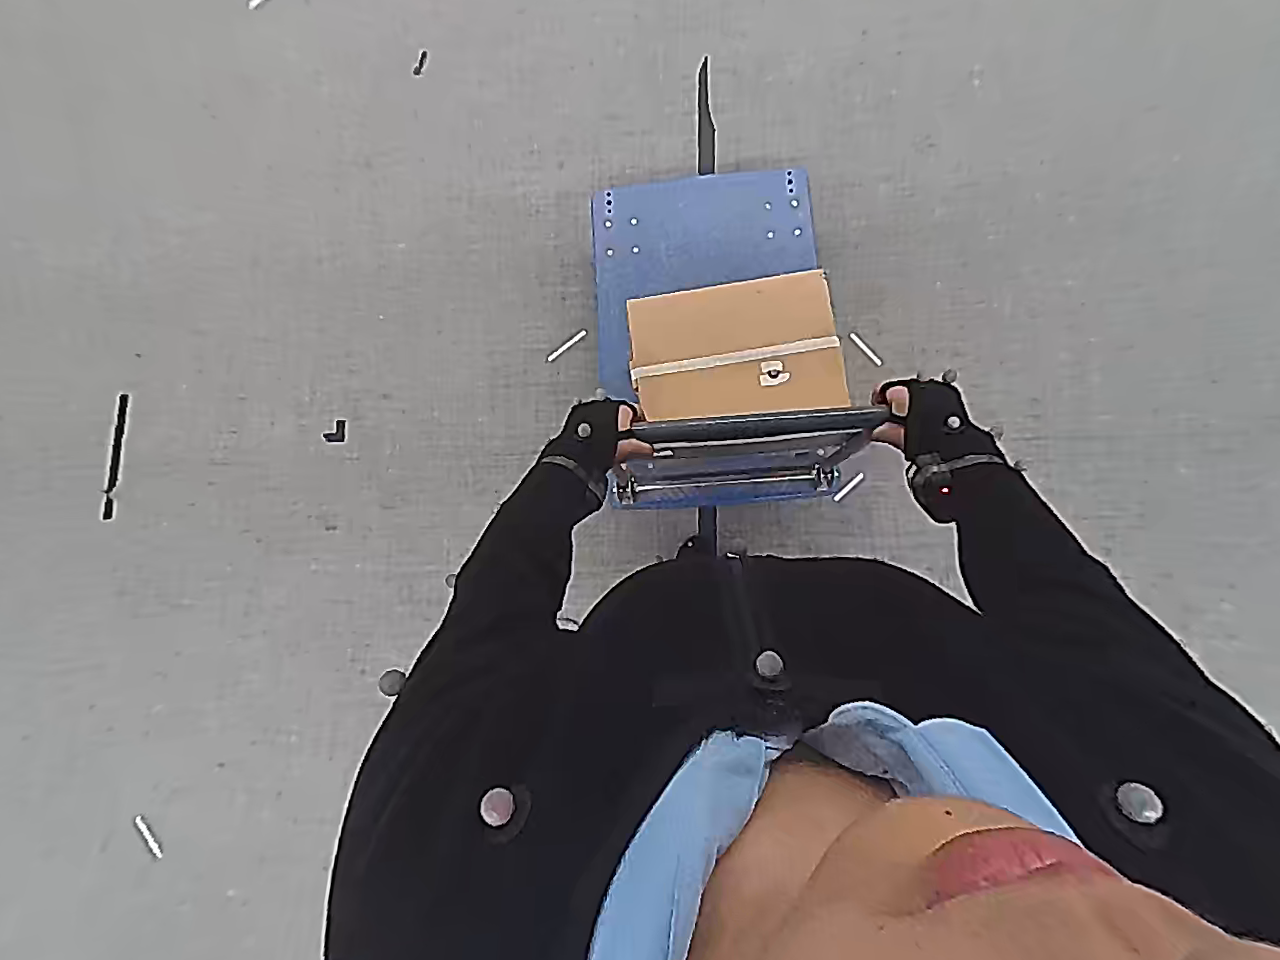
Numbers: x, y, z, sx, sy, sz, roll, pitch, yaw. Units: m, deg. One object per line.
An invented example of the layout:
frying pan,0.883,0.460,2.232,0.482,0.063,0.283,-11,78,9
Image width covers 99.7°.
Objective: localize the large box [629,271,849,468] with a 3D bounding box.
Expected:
large box,0.202,-0.226,1.230,0.408,0.320,0.320,-8,83,3
